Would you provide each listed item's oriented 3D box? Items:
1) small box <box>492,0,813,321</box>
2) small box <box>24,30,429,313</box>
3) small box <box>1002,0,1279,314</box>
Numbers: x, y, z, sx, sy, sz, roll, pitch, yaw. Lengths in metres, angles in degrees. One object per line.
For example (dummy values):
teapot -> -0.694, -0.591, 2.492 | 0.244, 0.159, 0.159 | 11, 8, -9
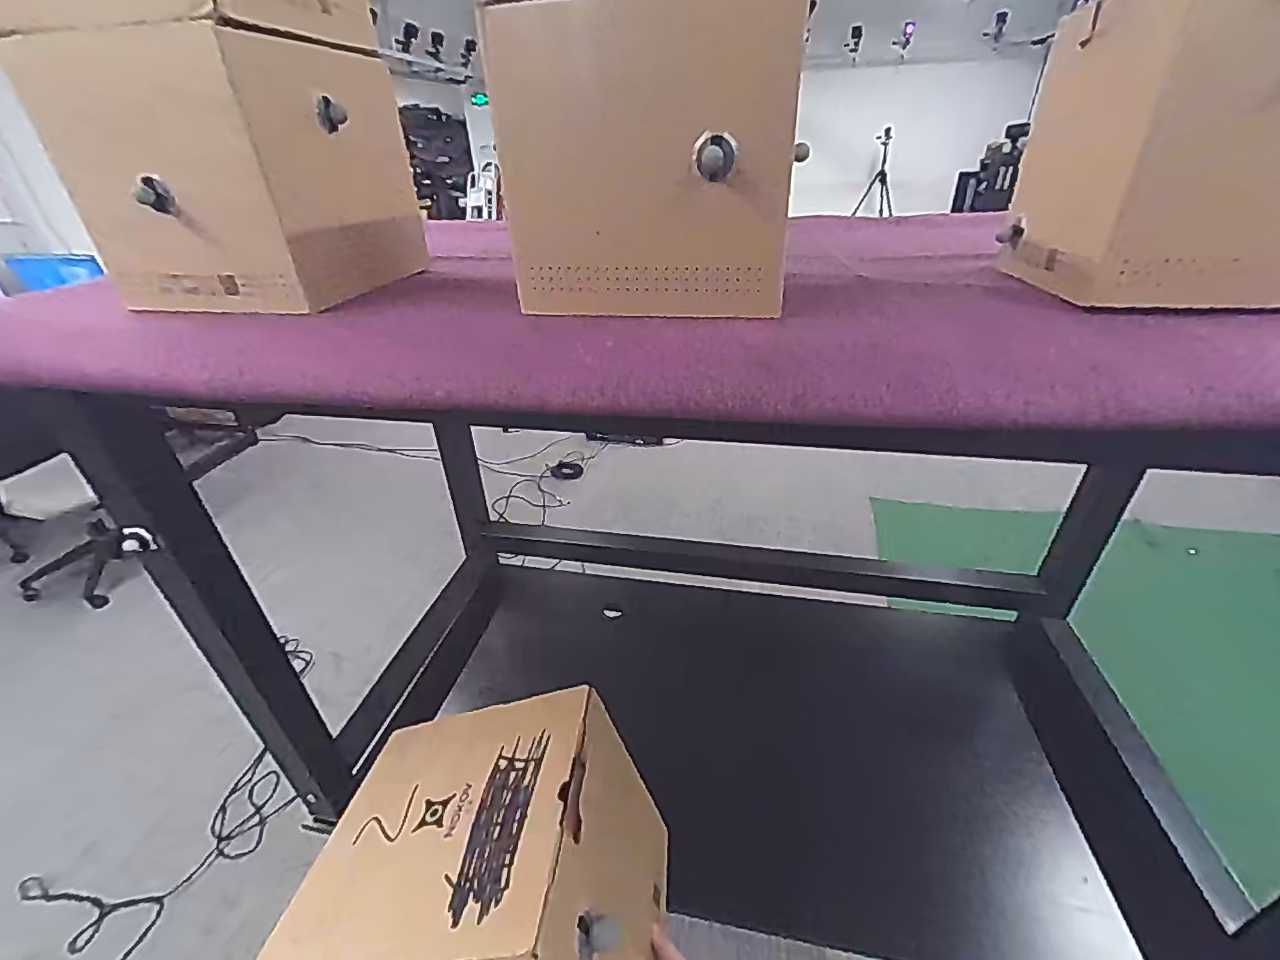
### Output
small box -> 0.019, -0.218, 0.393 | 0.179, 0.176, 0.168 | 3, 31, 10
small box -> -0.298, -0.241, 0.442 | 0.168, 0.176, 0.179 | 5, 32, 9
small box -> 0.365, -0.206, 0.348 | 0.179, 0.176, 0.168 | 5, 29, 12
